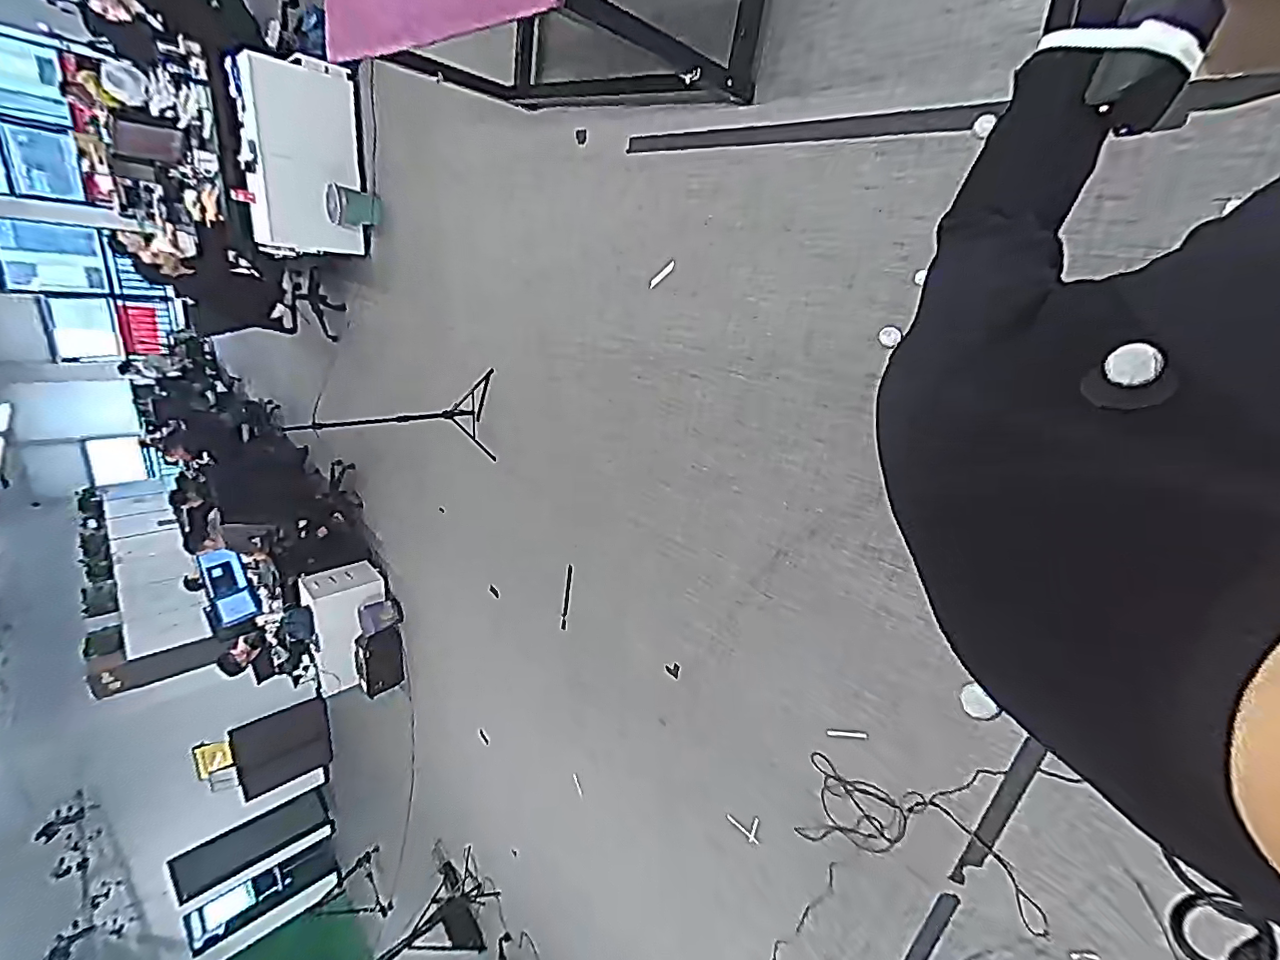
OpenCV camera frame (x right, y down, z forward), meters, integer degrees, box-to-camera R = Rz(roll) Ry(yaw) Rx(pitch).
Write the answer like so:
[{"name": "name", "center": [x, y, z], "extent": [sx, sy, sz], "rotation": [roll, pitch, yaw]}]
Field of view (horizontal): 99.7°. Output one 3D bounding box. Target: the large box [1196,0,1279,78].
[{"name": "large box", "center": [0.600, -0.430, 0.255], "extent": [0.408, 0.320, 0.320], "rotation": [26, 125, 38]}]
